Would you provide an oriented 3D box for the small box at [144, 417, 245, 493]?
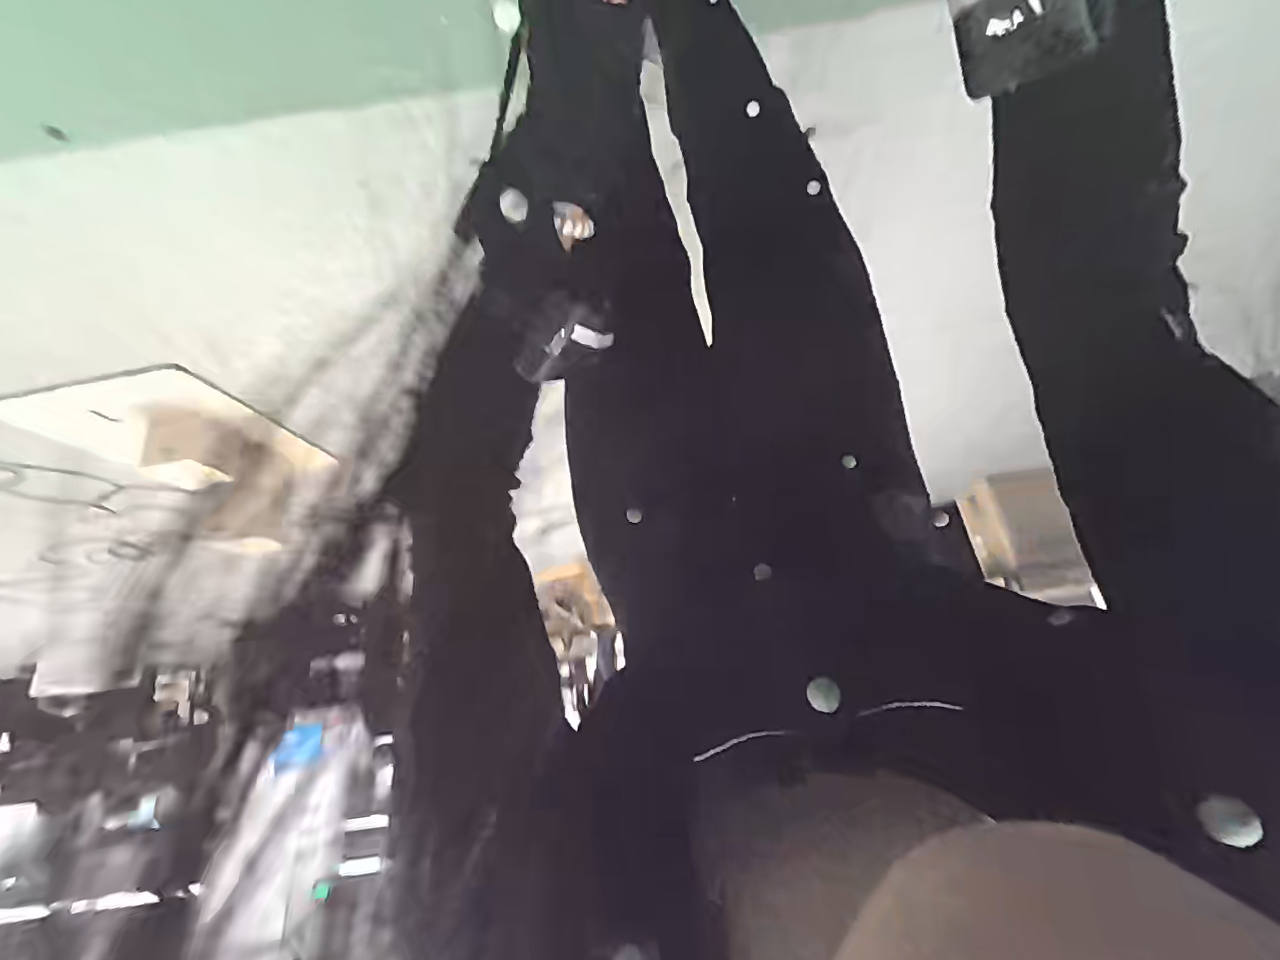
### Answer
[{"bbox_3d":[-1.384,-0.078,1.695,0.179,0.176,0.168,-11,158,5],"label":"small box"}]

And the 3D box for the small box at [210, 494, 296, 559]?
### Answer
[{"bbox_3d":[-1.322,0.161,1.861,0.179,0.176,0.168,-9,159,1],"label":"small box"}]
